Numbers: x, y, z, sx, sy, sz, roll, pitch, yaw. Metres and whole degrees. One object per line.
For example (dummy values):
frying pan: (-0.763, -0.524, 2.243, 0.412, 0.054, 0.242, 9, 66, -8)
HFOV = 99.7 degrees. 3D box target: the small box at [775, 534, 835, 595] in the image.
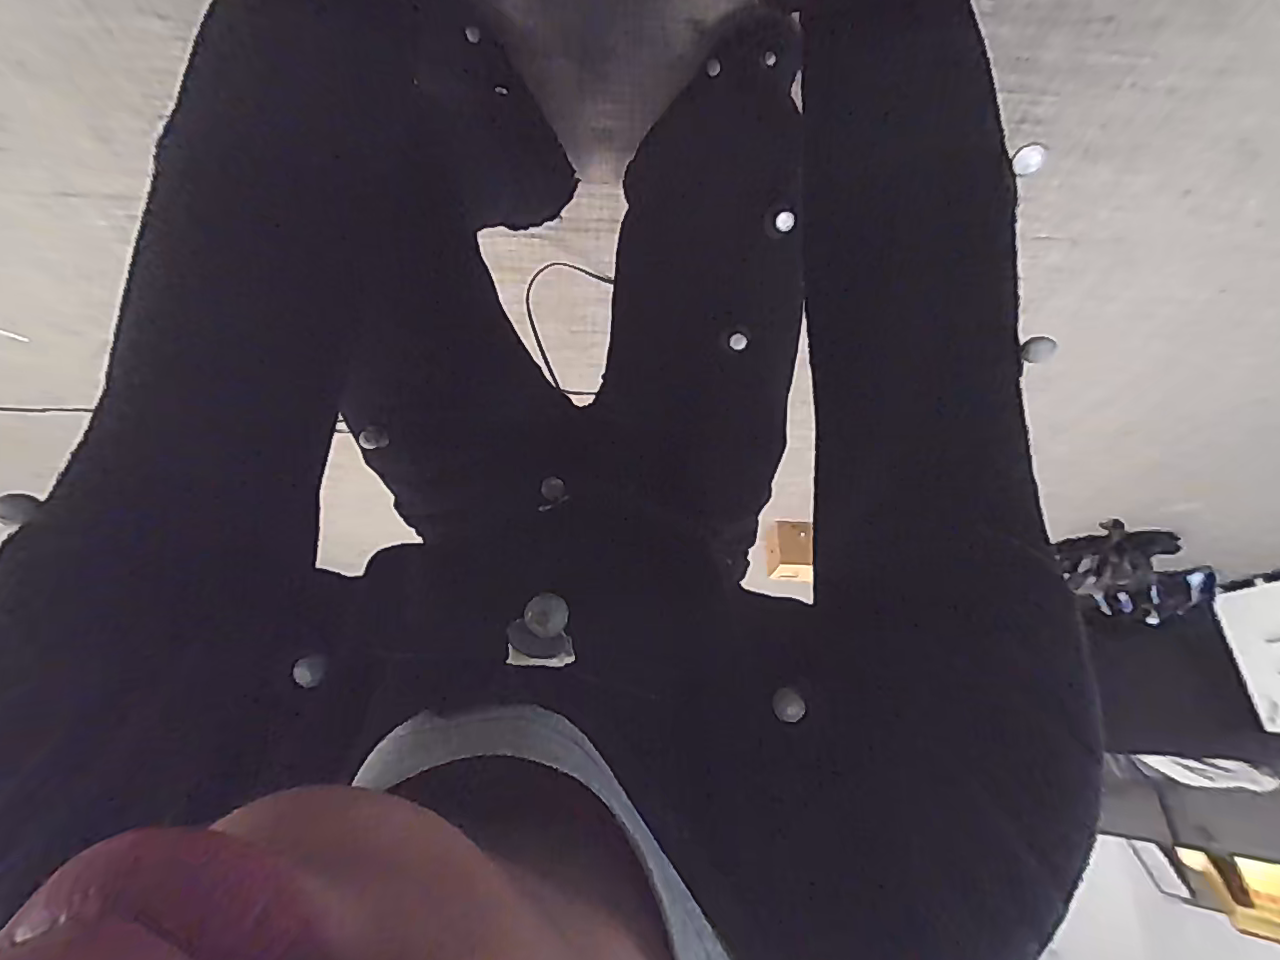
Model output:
small box: (0.596, 0.309, 1.970, 0.168, 0.176, 0.179, 3, 152, 0)
